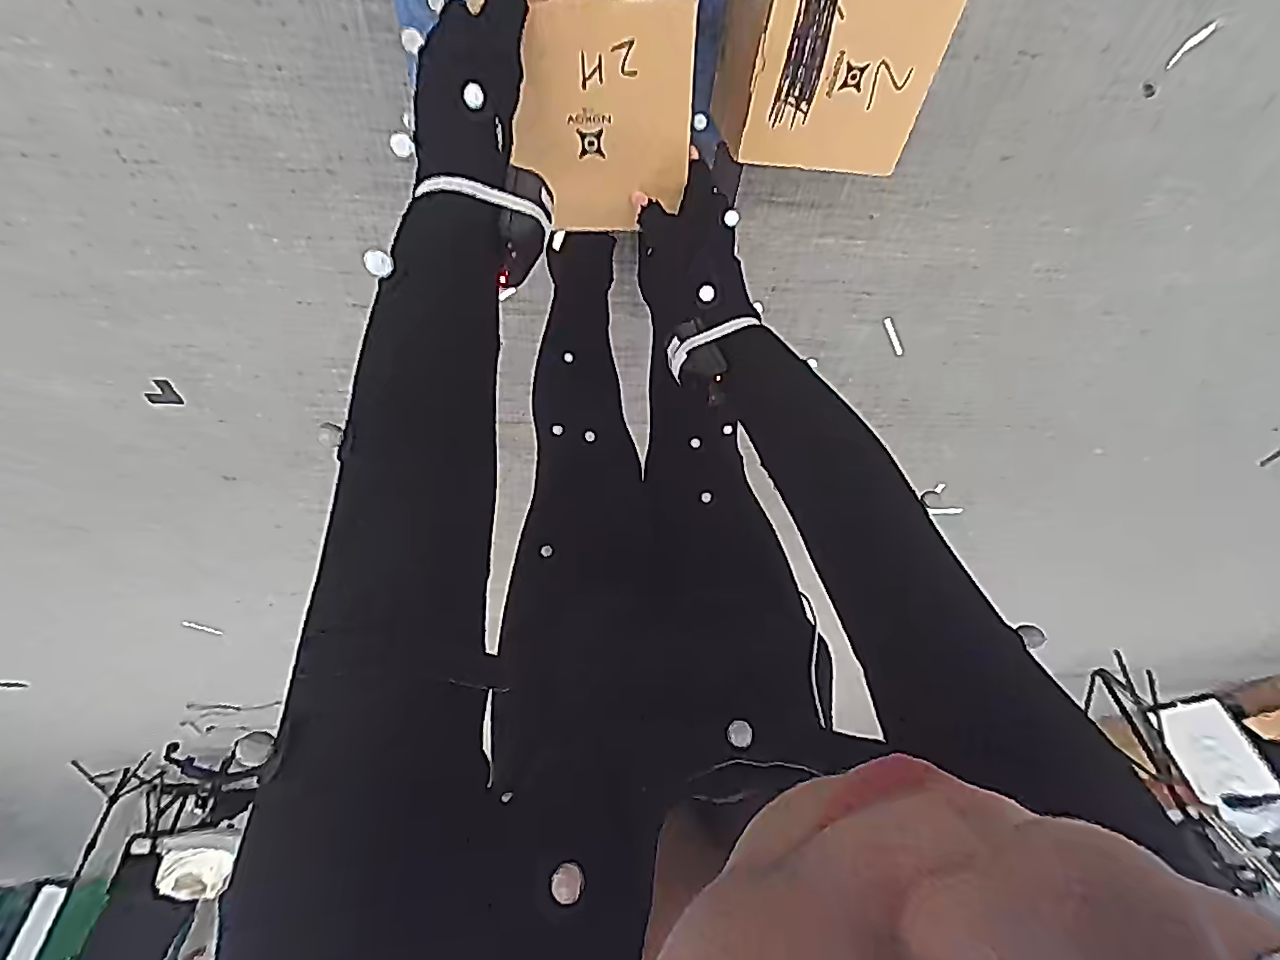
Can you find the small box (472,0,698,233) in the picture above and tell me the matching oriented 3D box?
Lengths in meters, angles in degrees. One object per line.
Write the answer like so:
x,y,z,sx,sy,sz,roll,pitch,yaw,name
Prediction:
-0.037,-0.356,0.498,0.168,0.176,0.179,1,145,1,small box
